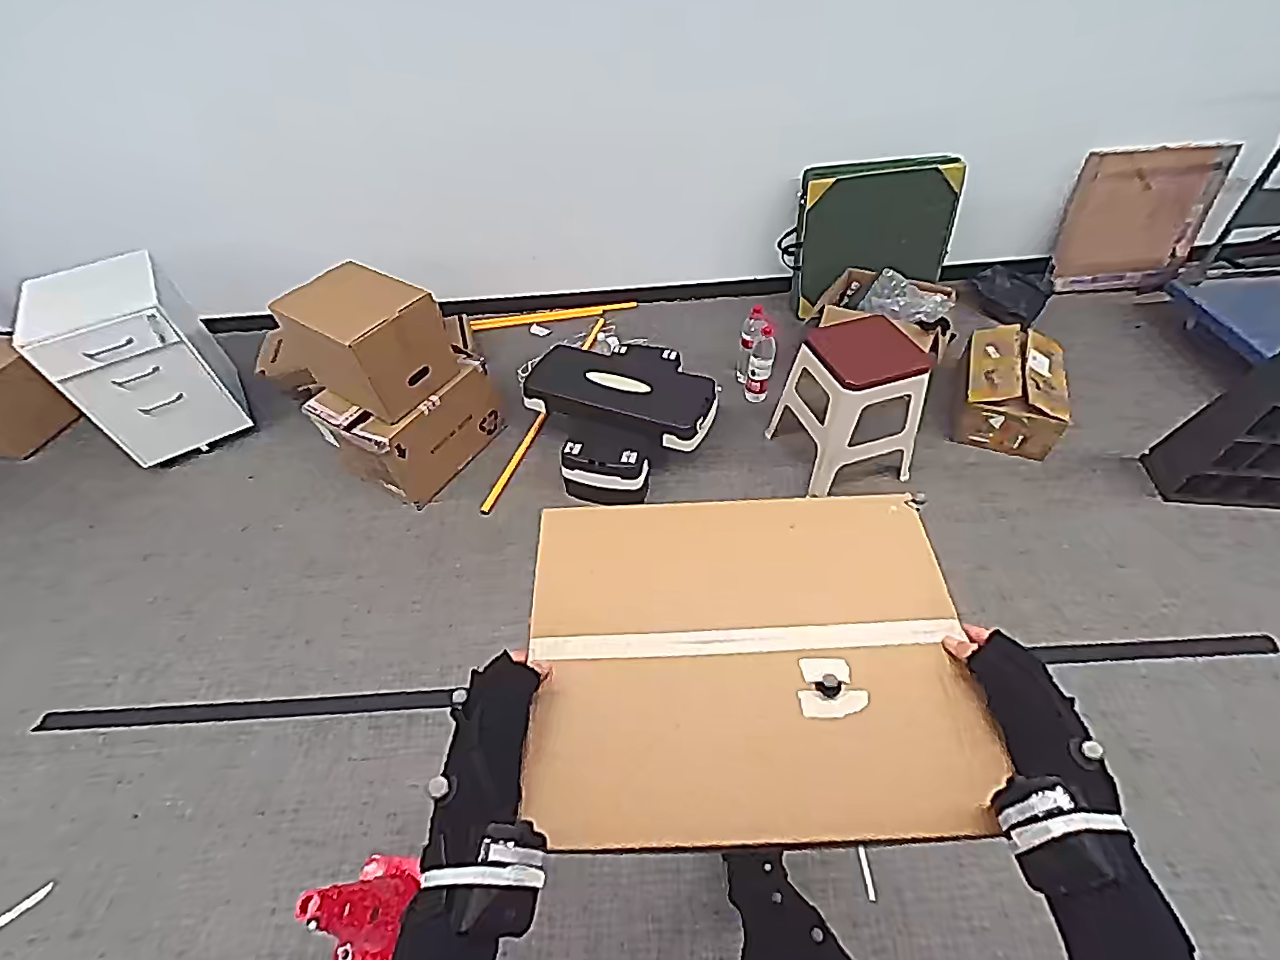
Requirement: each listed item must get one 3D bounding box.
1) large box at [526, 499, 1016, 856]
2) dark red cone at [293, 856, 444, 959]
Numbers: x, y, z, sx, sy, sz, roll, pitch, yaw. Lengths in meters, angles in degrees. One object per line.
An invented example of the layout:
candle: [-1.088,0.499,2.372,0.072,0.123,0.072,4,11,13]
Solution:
large box: [0.102,0.242,0.637,0.408,0.320,0.320,-2,55,0]
dark red cone: [-0.535,0.810,1.015,0.201,0.394,0.202,2,49,4]
